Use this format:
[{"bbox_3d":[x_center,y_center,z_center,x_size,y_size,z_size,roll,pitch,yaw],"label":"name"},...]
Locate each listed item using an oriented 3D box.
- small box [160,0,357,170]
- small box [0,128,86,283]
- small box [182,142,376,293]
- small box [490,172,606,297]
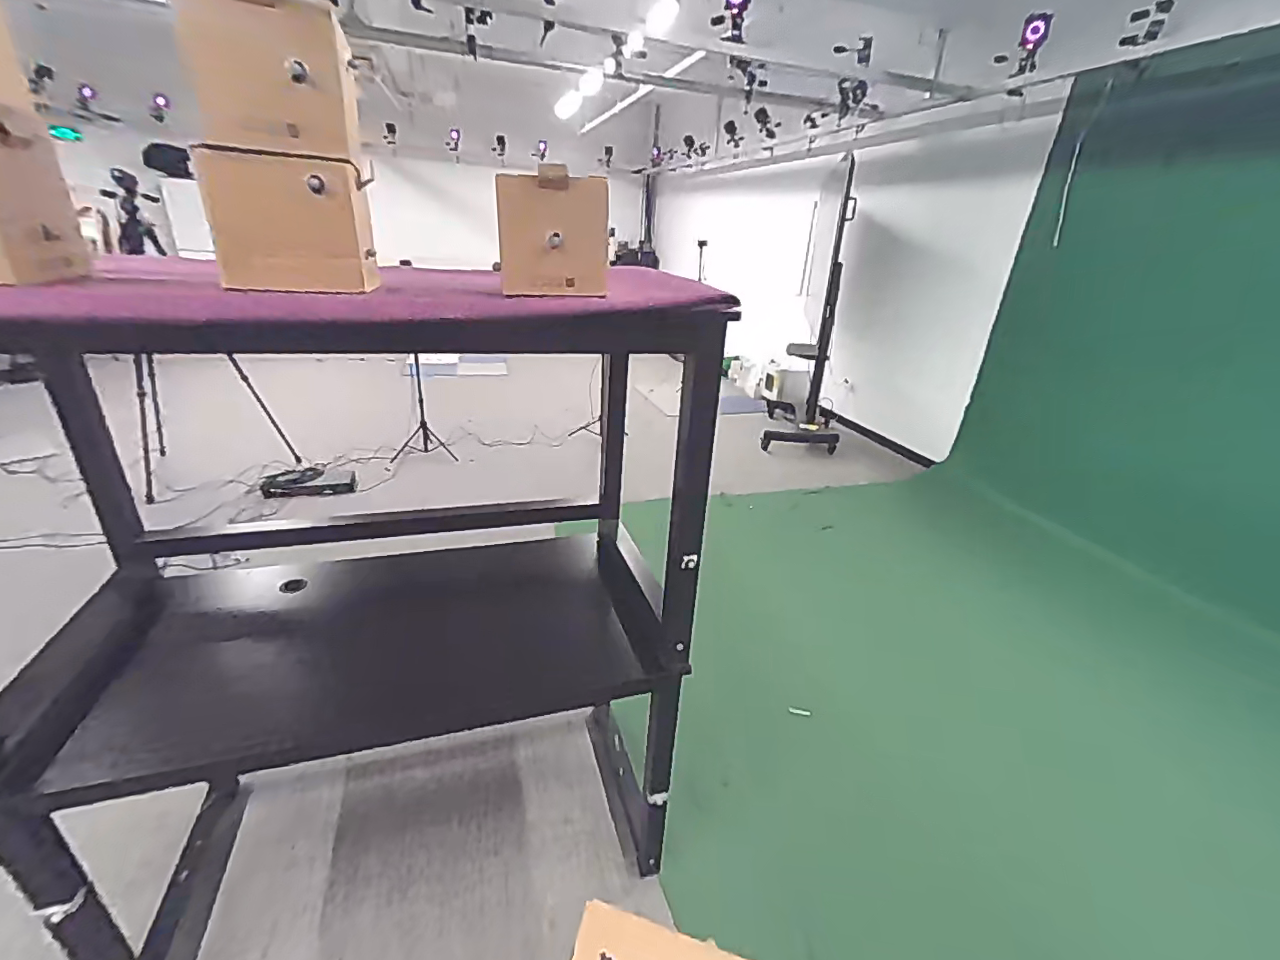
[{"bbox_3d":[-0.473,-0.507,0.702,0.168,0.176,0.179,-3,23,-21],"label":"small box"},{"bbox_3d":[-0.827,-0.327,0.634,0.179,0.176,0.168,-4,26,-18],"label":"small box"},{"bbox_3d":[-0.489,-0.358,0.763,0.179,0.176,0.168,-4,24,-18],"label":"small box"},{"bbox_3d":[-0.146,-0.390,0.874,0.168,0.176,0.179,-3,23,-11],"label":"small box"}]
